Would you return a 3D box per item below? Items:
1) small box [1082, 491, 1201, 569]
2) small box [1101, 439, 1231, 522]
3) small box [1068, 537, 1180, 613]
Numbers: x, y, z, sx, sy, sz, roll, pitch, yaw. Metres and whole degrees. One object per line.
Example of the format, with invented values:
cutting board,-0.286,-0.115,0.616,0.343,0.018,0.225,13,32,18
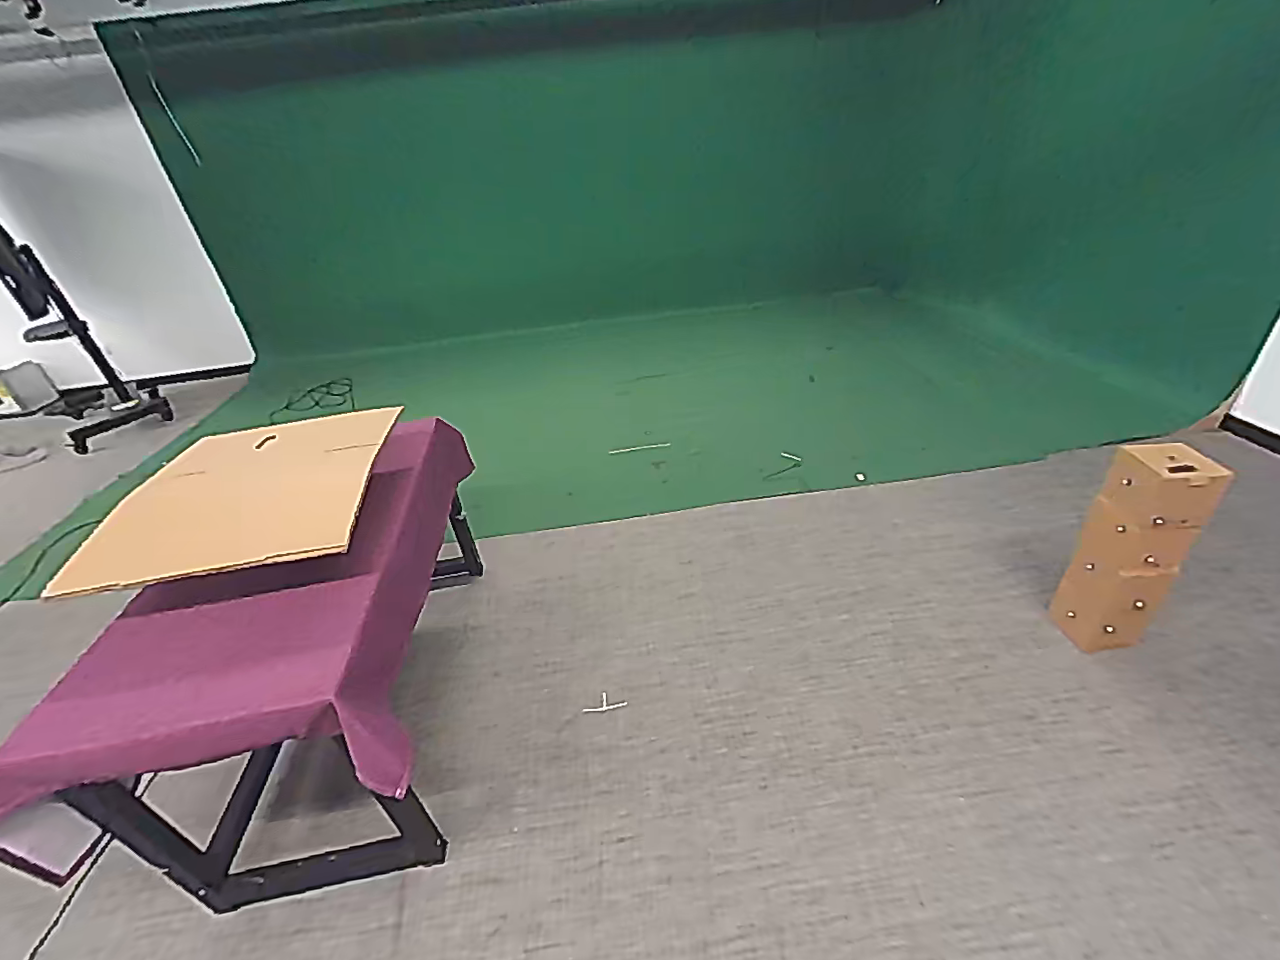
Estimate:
small box,1.459,0.142,1.591,0.168,0.176,0.179,-5,33,4
small box,1.445,0.006,1.499,0.168,0.176,0.179,-3,32,6
small box,1.477,0.285,1.667,0.168,0.176,0.179,-7,32,2
